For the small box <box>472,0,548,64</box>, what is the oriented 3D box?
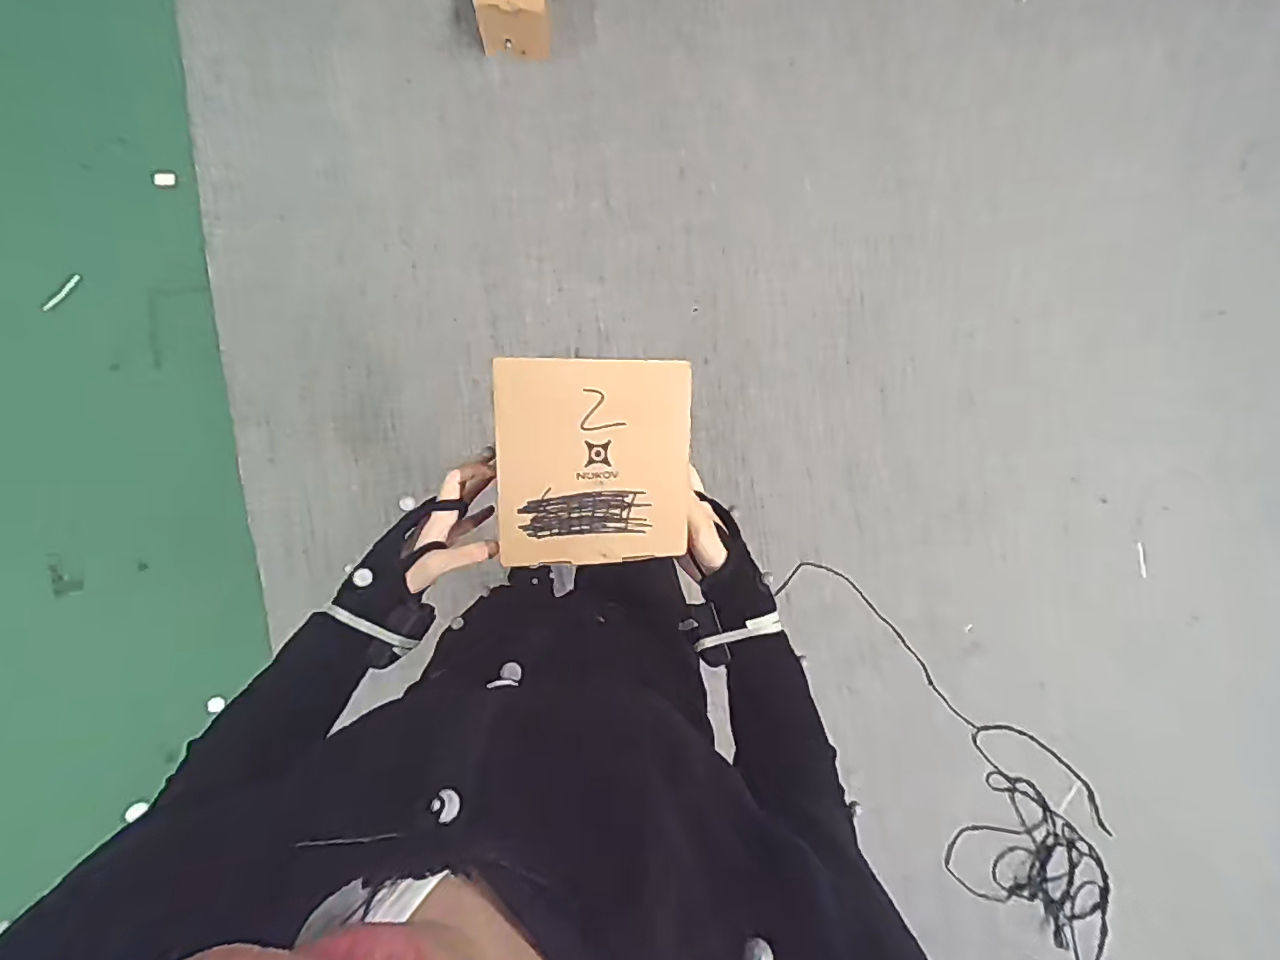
[{"bbox_3d":[-0.319,-1.199,1.350,0.168,0.176,0.179,4,92,-7],"label":"small box"}]
